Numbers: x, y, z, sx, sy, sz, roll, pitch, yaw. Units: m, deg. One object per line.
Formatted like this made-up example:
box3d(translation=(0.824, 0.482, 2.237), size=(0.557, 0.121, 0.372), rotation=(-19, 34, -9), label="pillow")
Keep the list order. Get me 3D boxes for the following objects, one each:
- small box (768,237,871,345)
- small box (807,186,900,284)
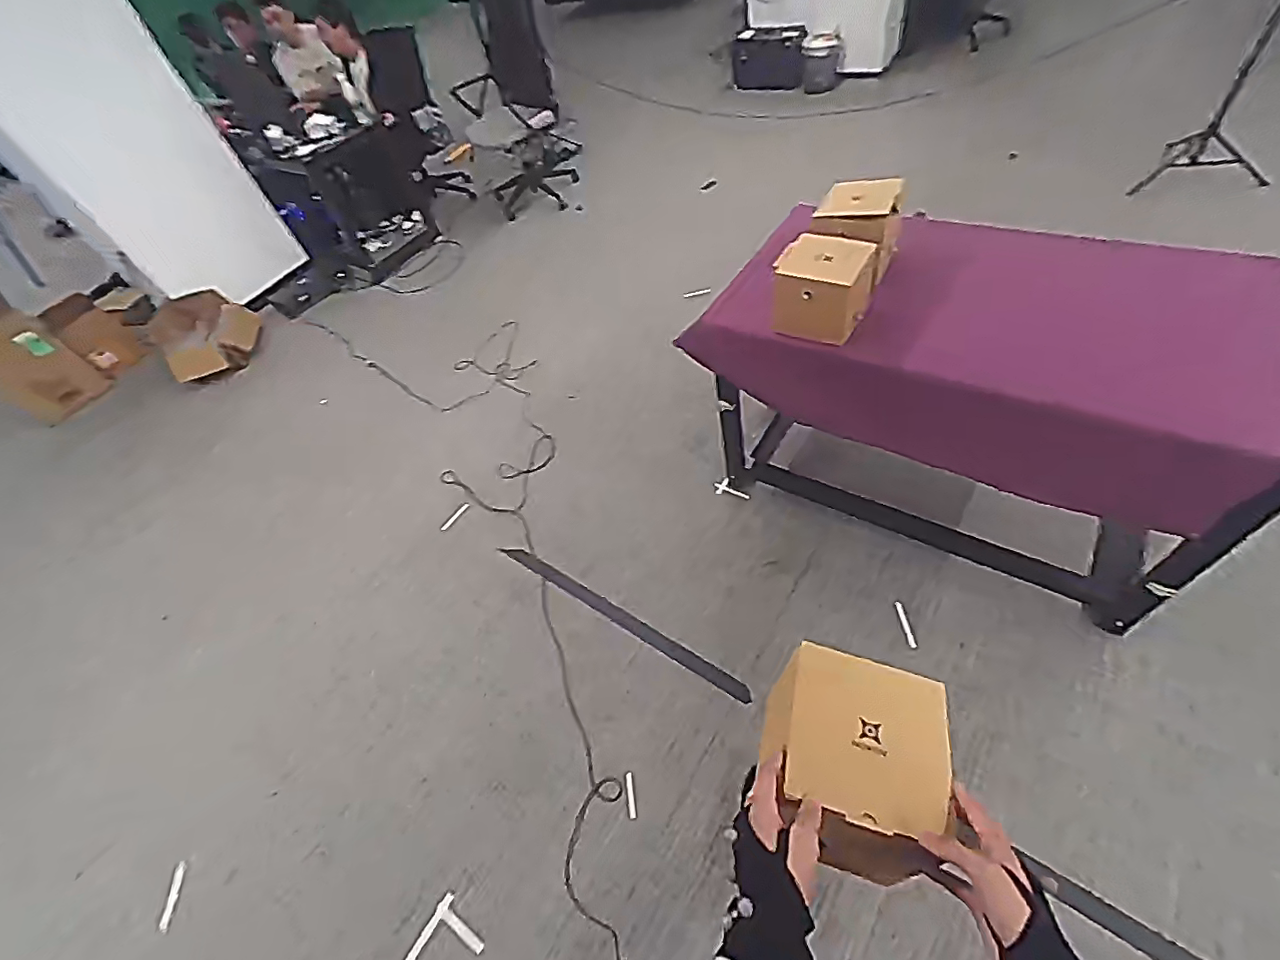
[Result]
box3d(translation=(0.415, -0.440, 1.268), size=(0.179, 0.176, 0.168), rotation=(22, 61, 27), label="small box")
box3d(translation=(0.534, -0.620, 1.377), size=(0.179, 0.176, 0.168), rotation=(20, 61, 26), label="small box")
